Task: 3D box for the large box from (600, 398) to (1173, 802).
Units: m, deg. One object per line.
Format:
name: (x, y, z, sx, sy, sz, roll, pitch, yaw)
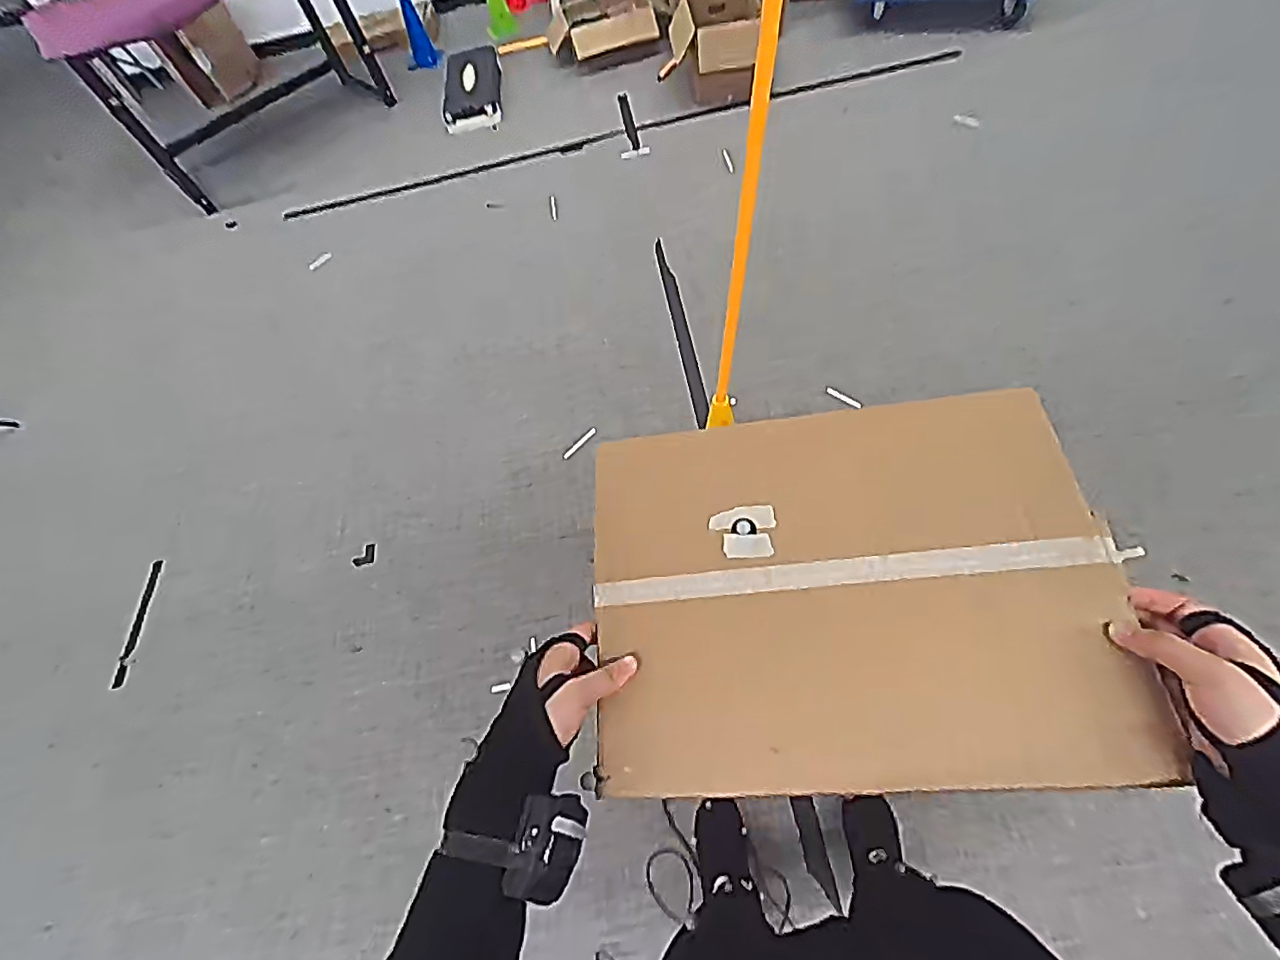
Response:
large box: (0.193, 0.151, 0.591, 0.408, 0.320, 0.320, -8, 62, 11)
